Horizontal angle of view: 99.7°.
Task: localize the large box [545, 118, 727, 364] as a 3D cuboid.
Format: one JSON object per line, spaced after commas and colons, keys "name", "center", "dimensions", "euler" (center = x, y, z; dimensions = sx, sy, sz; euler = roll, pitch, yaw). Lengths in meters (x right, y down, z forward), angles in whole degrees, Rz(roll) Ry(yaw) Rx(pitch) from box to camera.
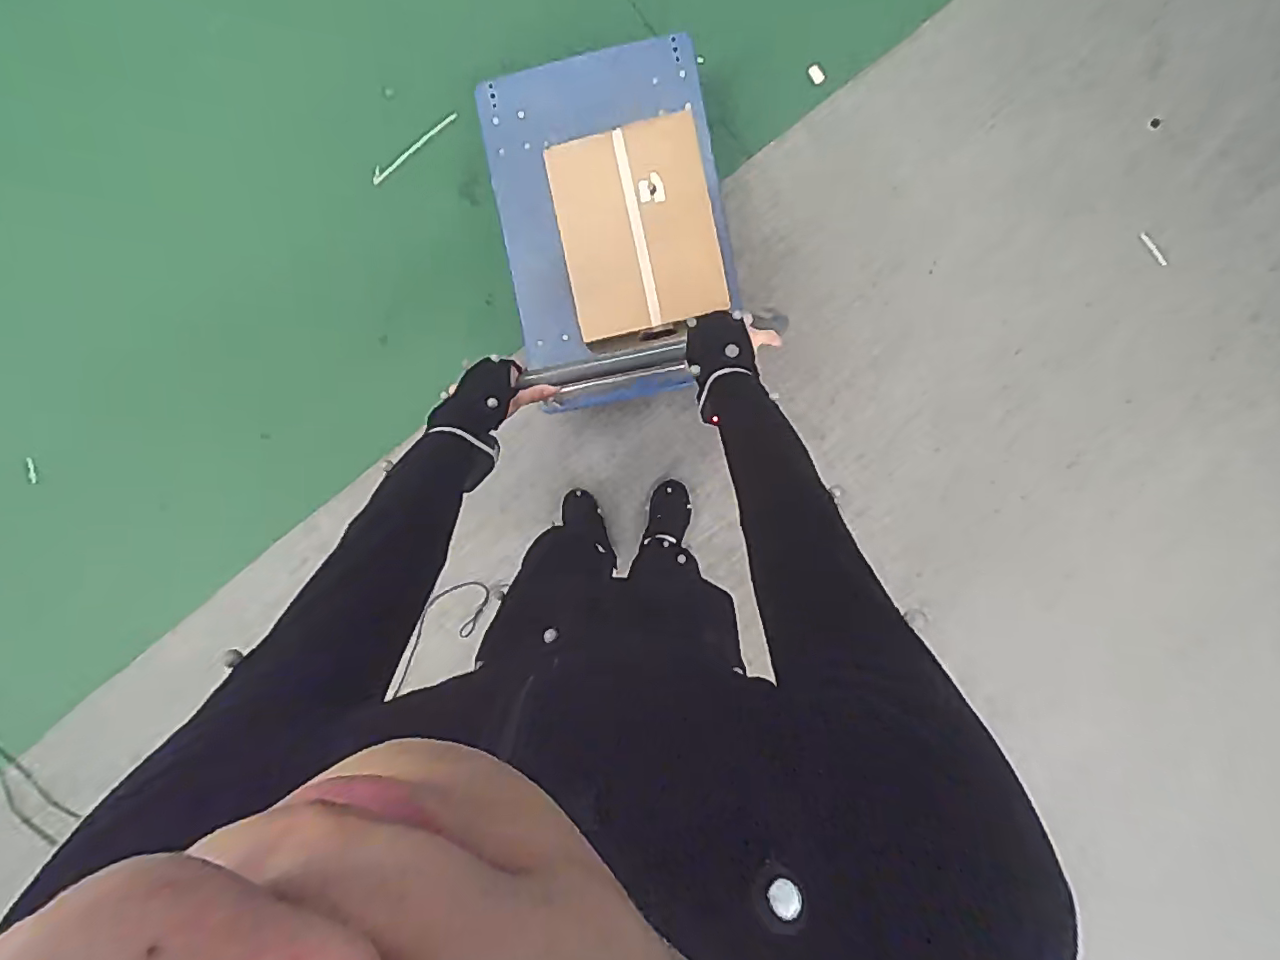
{"name": "large box", "center": [0.004, -0.522, 1.269], "dimensions": [0.320, 0.320, 0.408], "euler": [-11, 92, 4]}
